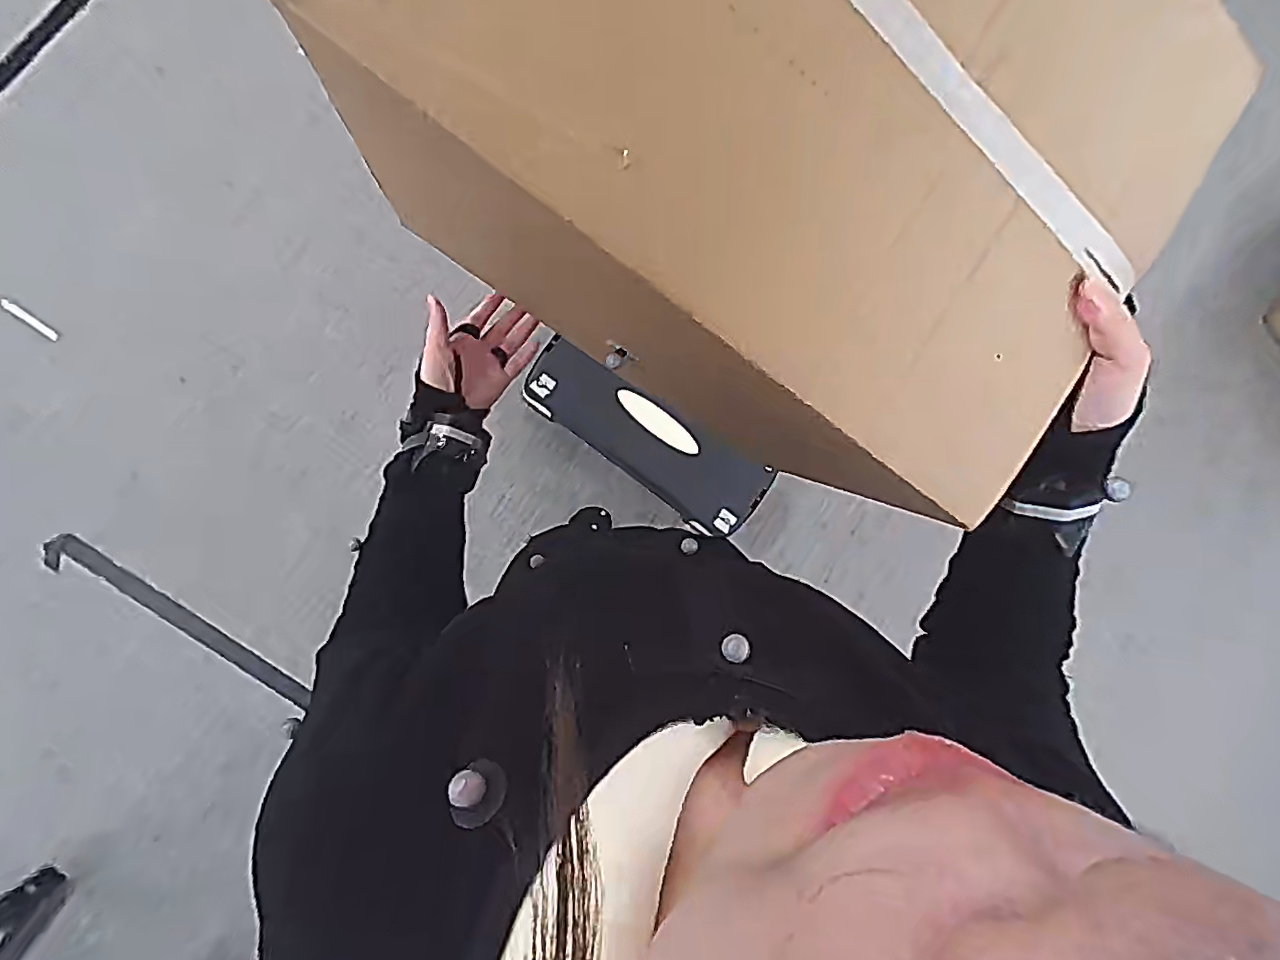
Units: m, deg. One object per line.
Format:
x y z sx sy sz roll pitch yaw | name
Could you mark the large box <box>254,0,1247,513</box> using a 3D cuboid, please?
0.066 -0.226 0.388 0.408 0.320 0.320 31 90 -18 | large box
